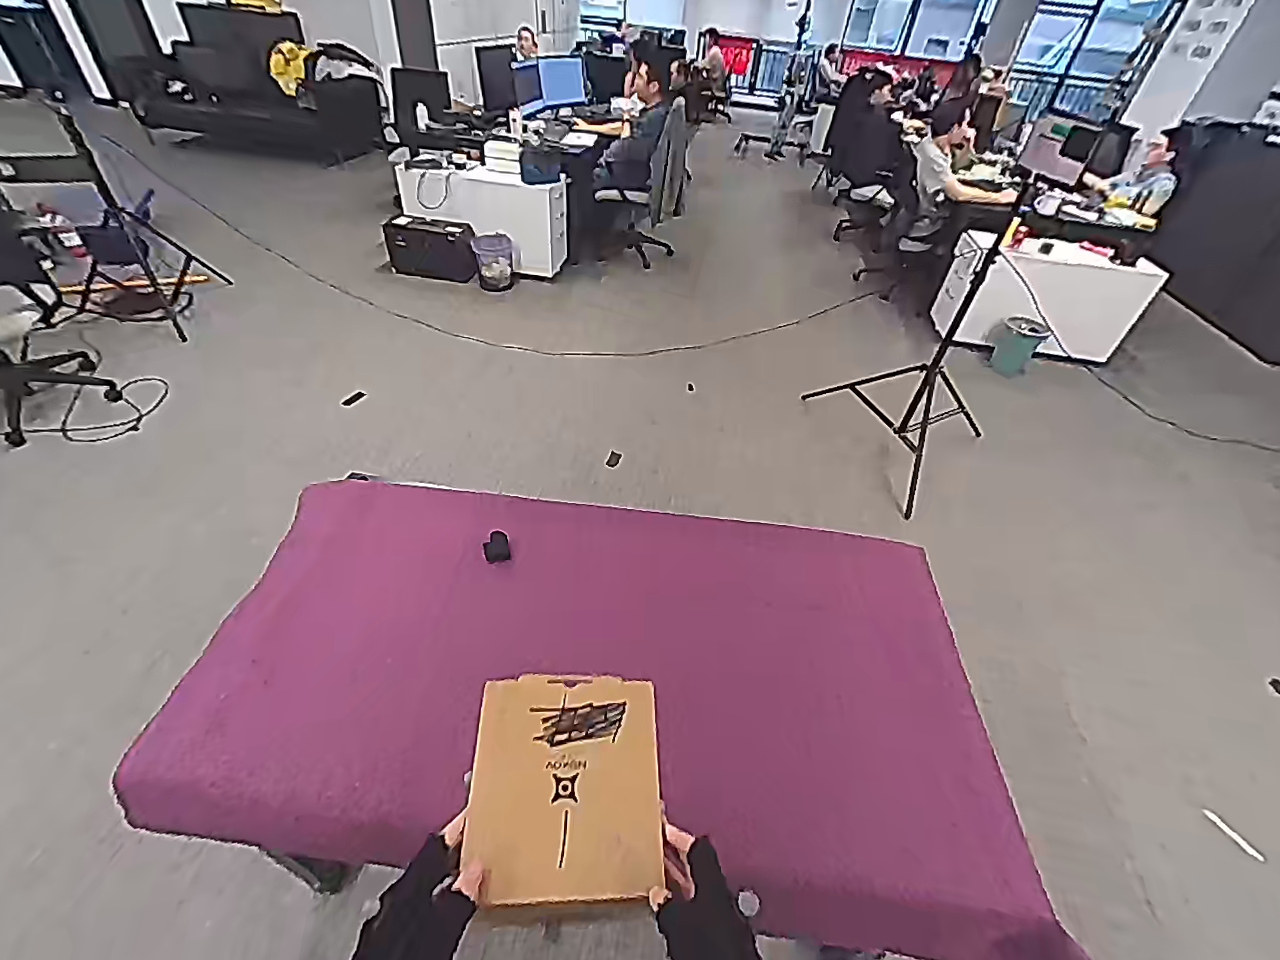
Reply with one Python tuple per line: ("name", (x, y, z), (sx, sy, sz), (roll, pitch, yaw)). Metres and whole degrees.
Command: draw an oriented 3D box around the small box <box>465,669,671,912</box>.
("small box", (-0.067, 0.309, 0.538), (0.168, 0.176, 0.179), (3, 47, -6))
